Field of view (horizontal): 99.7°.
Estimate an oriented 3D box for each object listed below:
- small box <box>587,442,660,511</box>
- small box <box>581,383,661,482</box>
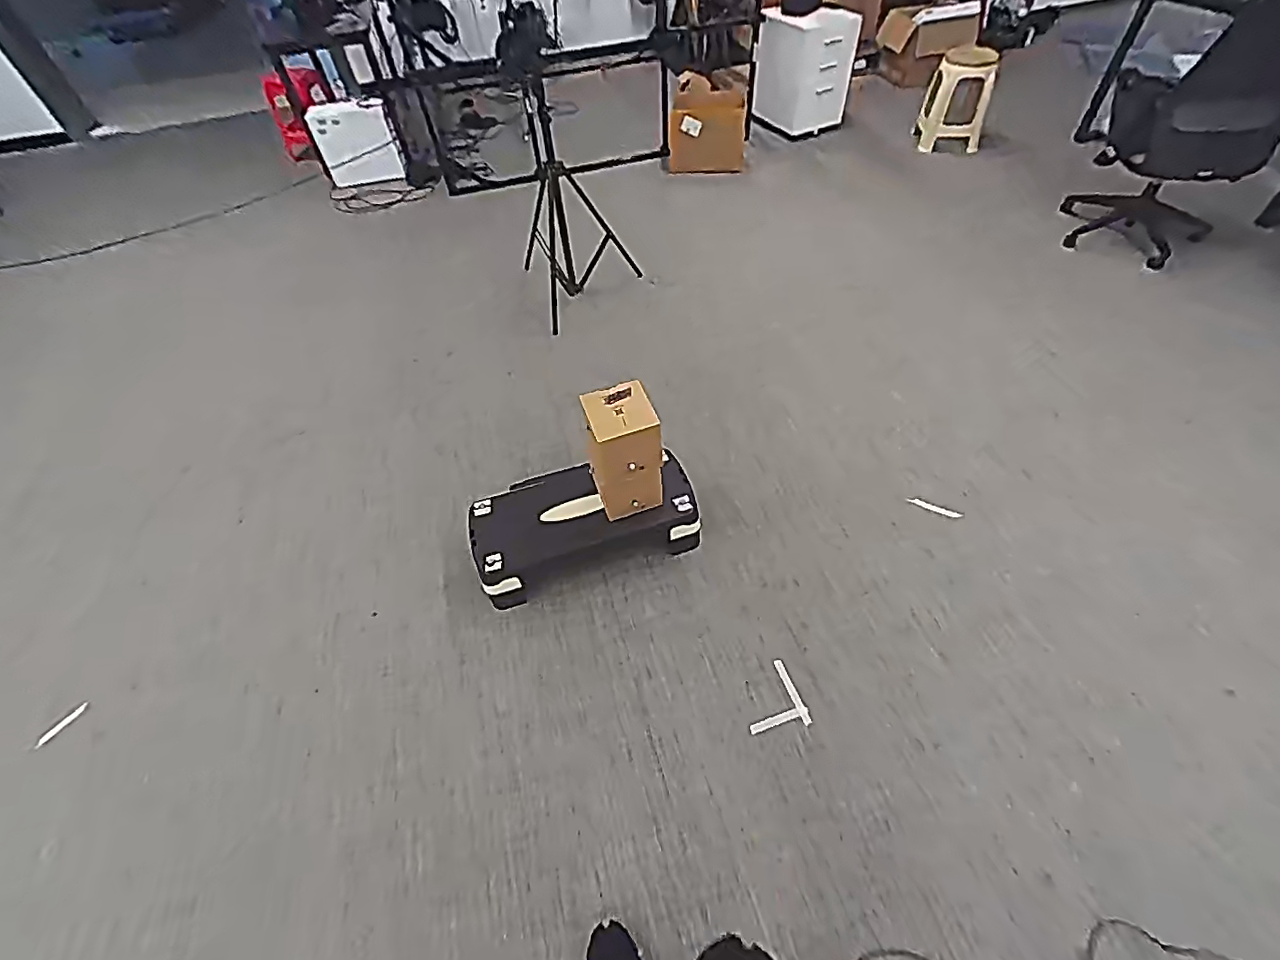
[{"bbox_3d":[-0.046,-0.017,1.564,0.168,0.176,0.179,-18,53,-8],"label":"small box"},{"bbox_3d":[-0.049,-0.124,1.439,0.168,0.176,0.179,-18,53,-9],"label":"small box"}]
